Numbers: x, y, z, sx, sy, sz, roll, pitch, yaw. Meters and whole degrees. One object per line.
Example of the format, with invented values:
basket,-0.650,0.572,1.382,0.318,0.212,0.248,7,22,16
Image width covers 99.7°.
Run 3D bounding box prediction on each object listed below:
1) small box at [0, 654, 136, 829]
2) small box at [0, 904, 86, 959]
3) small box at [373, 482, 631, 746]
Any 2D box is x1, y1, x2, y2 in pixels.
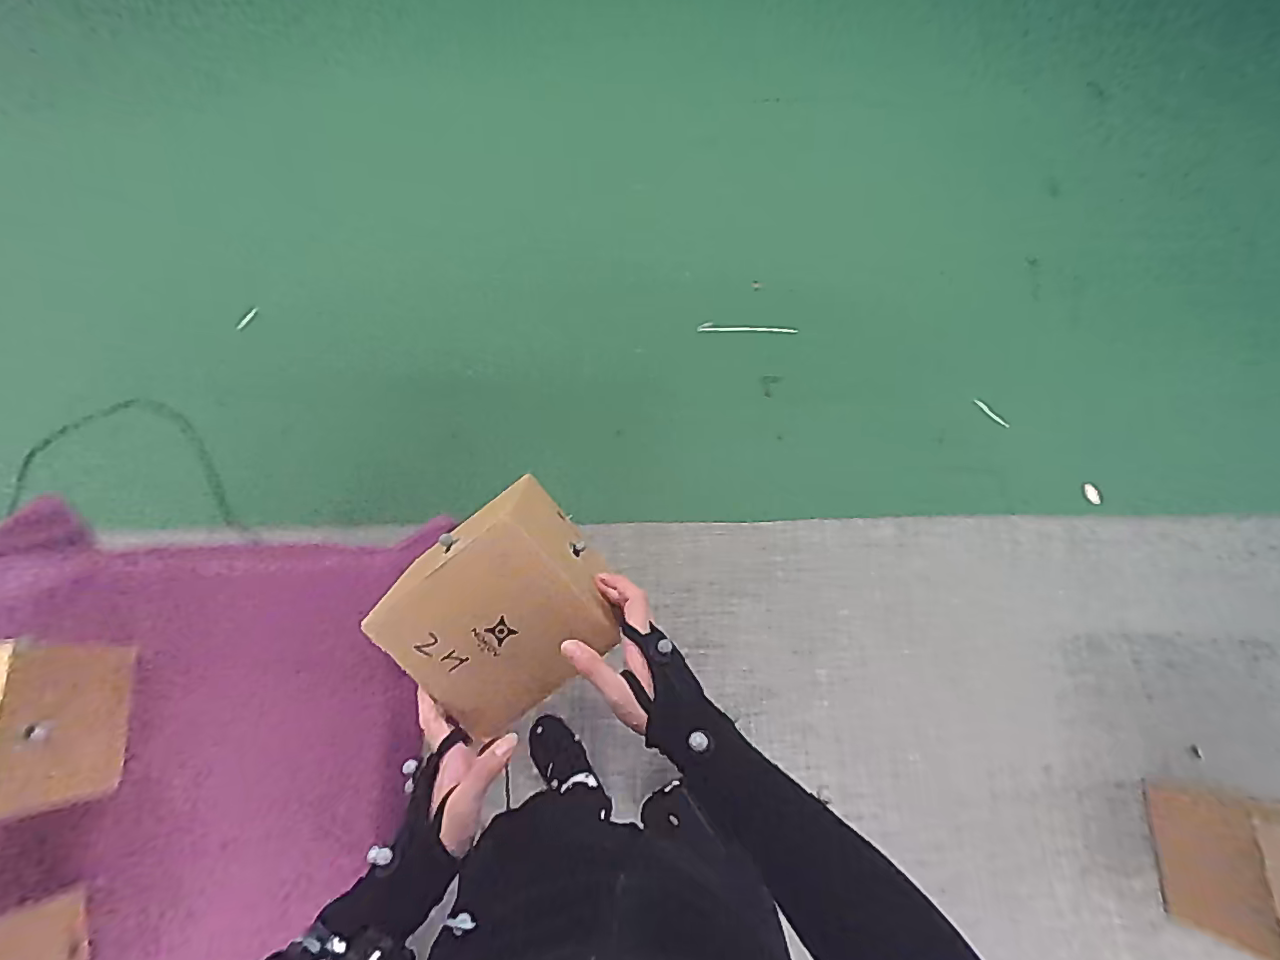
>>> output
small box,-0.749,0.304,0.632,0.168,0.176,0.179,-7,74,-5
small box,-0.715,0.579,0.542,0.179,0.176,0.168,-20,74,-8
small box,-0.130,0.124,0.569,0.179,0.176,0.168,-36,103,4
